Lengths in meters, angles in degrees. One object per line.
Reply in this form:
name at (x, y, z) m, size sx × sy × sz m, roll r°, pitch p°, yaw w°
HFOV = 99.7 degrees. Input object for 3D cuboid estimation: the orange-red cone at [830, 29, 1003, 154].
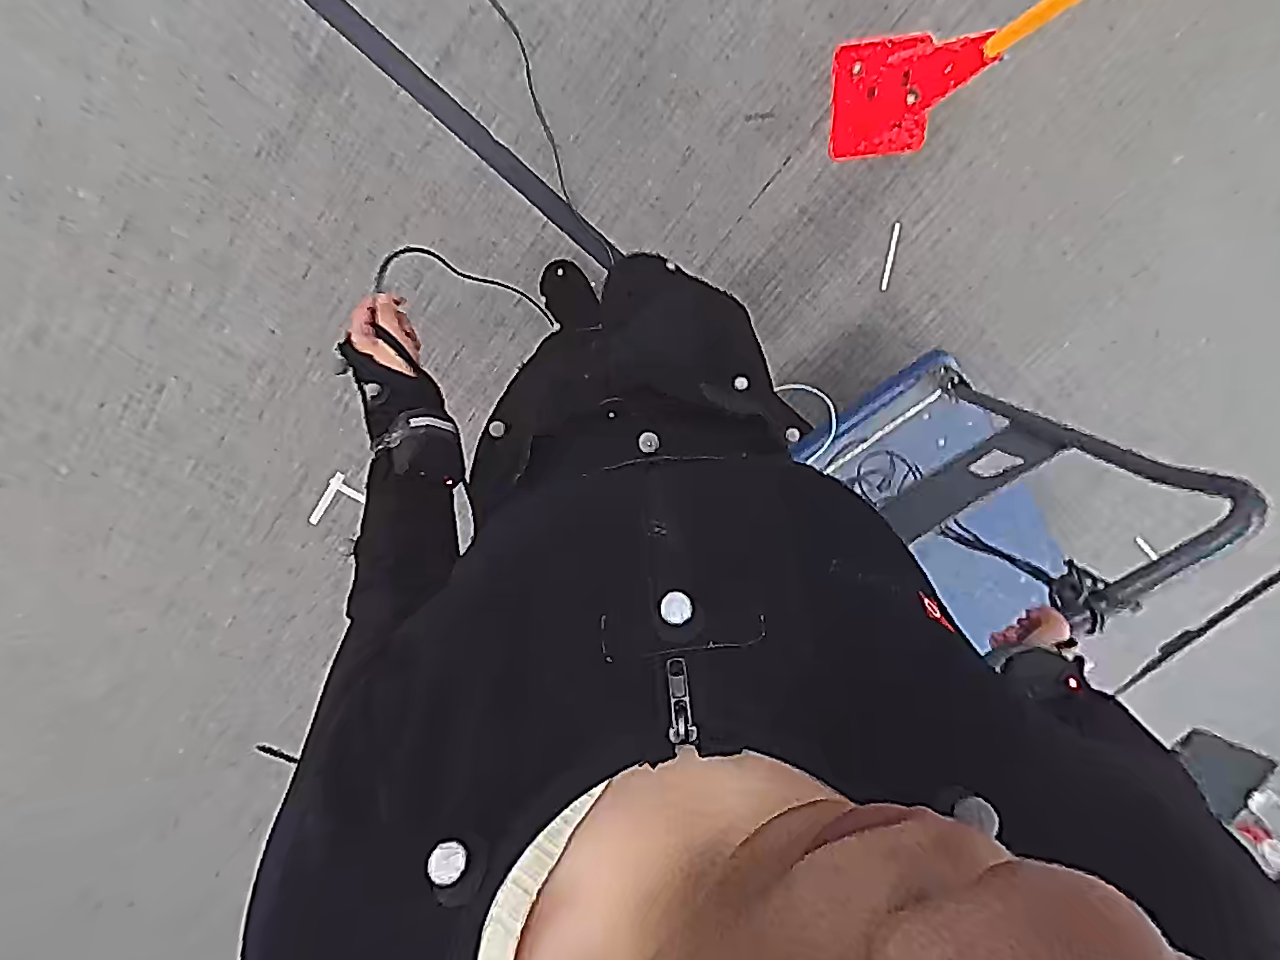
orange-red cone at (0.494, -0.699, 0.932) m, size 0.198 × 0.360 × 0.199 m, roll -6°, pitch 116°, yaw -1°
